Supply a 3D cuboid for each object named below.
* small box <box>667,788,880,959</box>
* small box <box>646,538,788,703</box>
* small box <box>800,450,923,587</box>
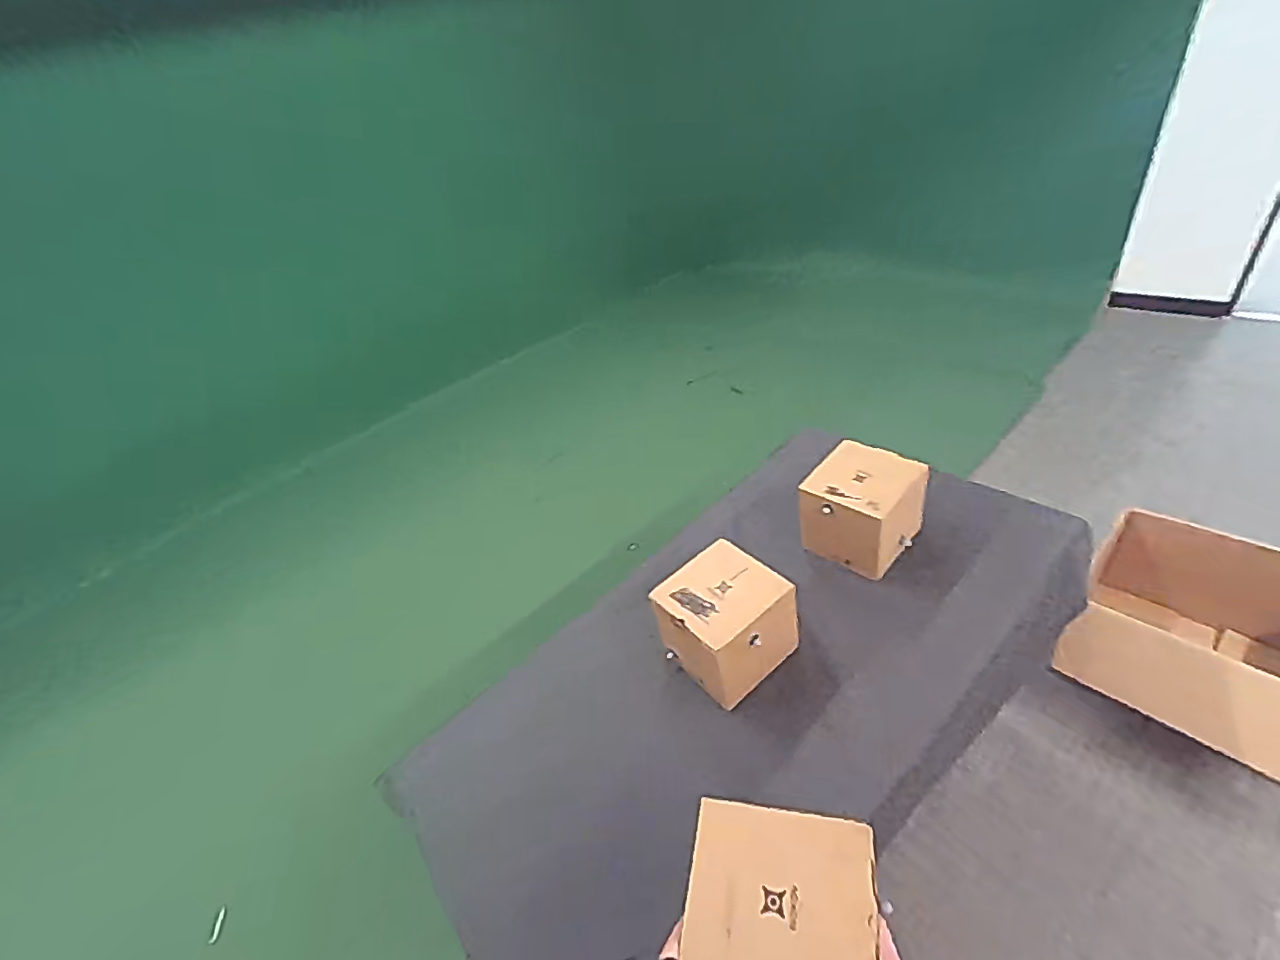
[{"bbox_3d":[0.142,0.442,0.540,0.179,0.176,0.168,-4,36,21],"label":"small box"},{"bbox_3d":[0.137,0.239,0.921,0.179,0.176,0.168,-31,42,-20],"label":"small box"},{"bbox_3d":[0.429,0.073,1.068,0.168,0.176,0.179,25,53,38],"label":"small box"}]
